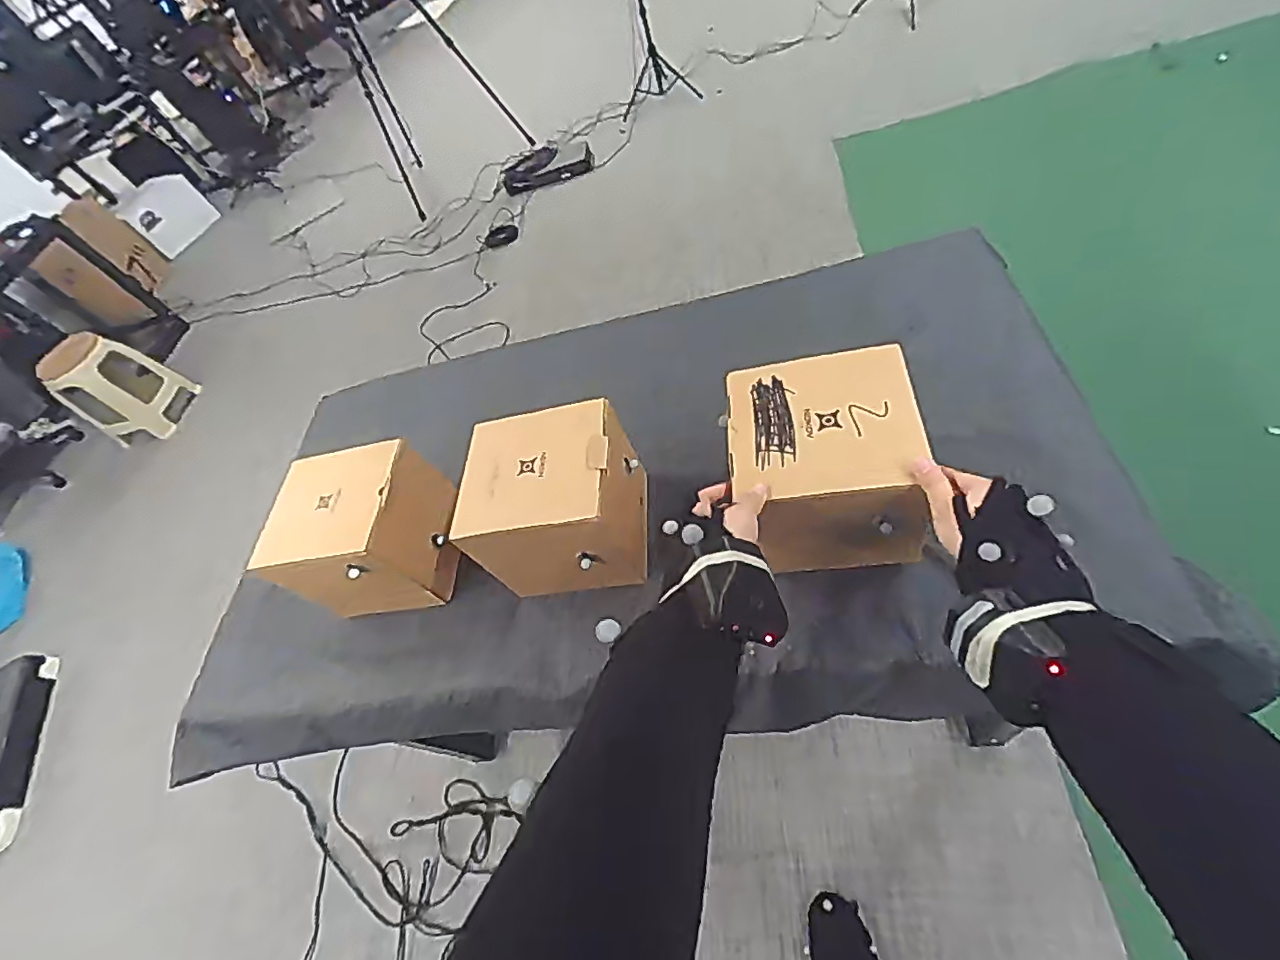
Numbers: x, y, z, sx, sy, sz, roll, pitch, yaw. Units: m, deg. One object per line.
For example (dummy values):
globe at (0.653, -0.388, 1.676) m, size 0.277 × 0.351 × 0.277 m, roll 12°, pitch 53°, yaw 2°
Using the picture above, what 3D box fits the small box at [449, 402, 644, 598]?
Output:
small box at (-0.099, 0.033, 0.669) m, size 0.179 × 0.176 × 0.168 m, roll -11°, pitch 53°, yaw 16°

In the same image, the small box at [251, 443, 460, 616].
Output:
small box at (-0.367, 0.076, 0.742) m, size 0.179 × 0.176 × 0.168 m, roll -10°, pitch 54°, yaw 13°
